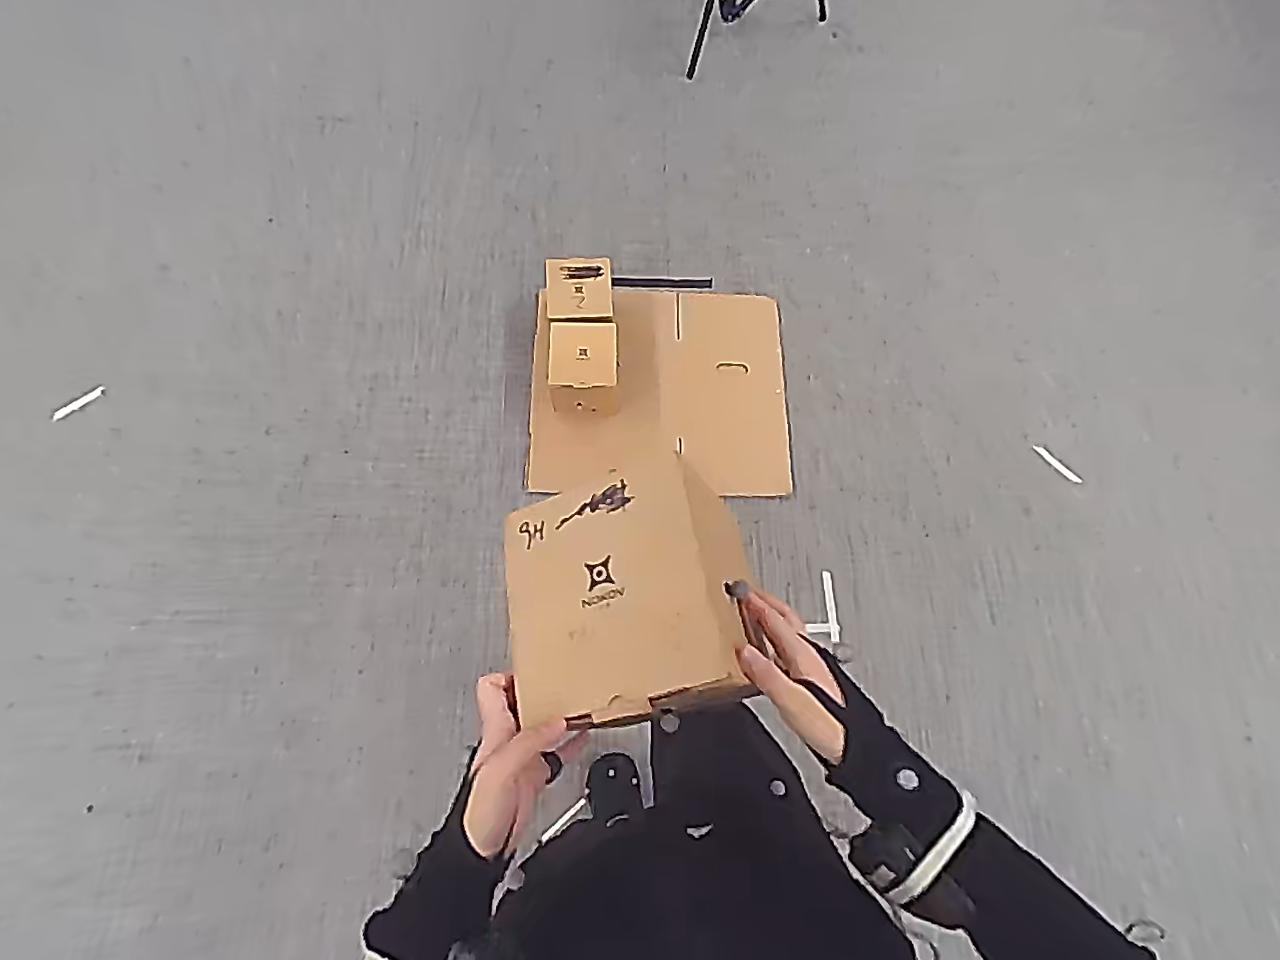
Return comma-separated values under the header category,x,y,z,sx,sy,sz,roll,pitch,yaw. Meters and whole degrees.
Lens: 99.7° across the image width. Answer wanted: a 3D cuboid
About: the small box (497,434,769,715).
category,x,y,z,sx,sy,sz,roll,pitch,yaw
small box,0.000,0.092,0.470,0.168,0.176,0.179,-21,63,16
